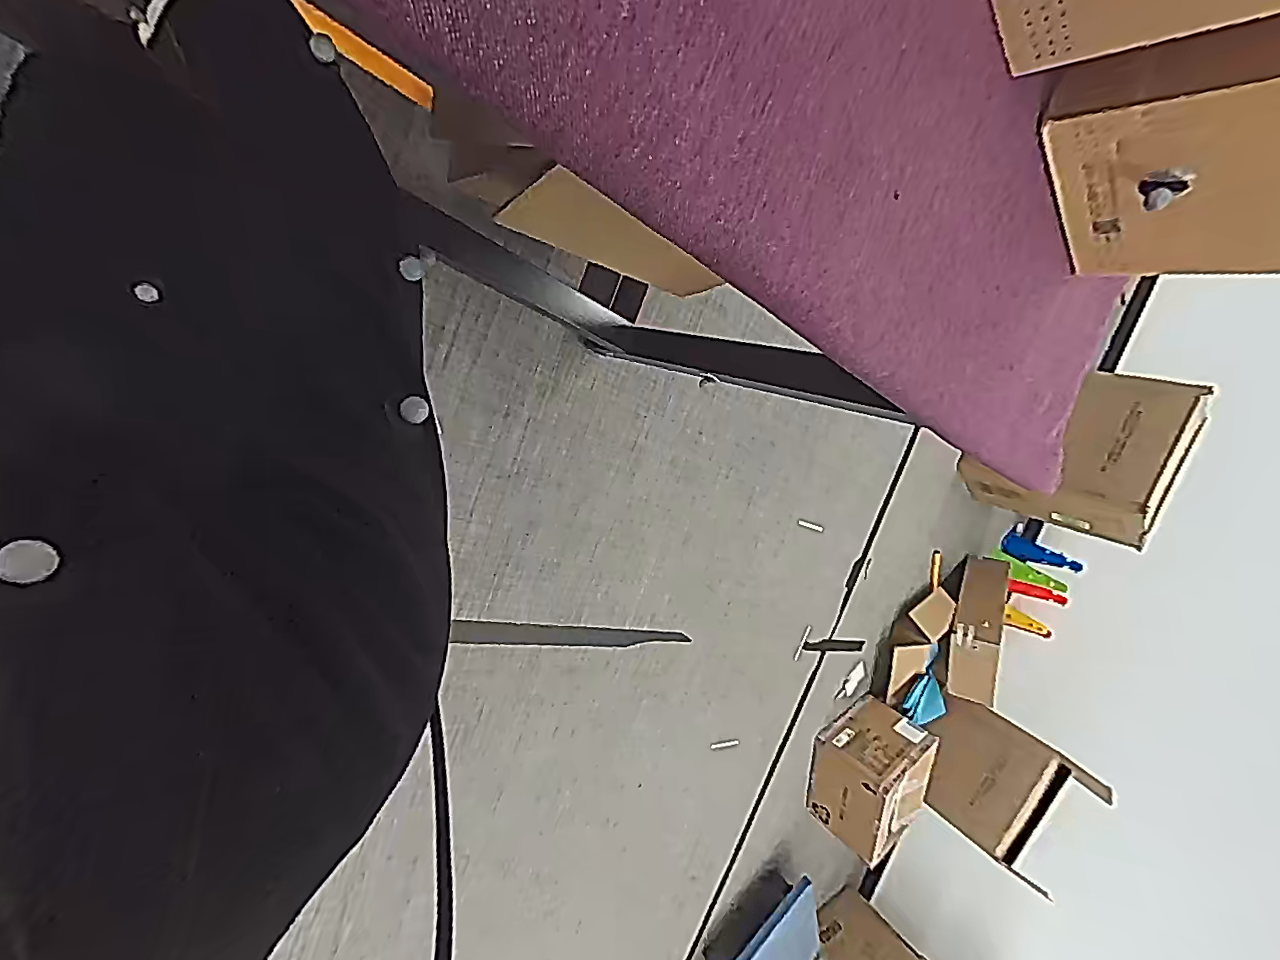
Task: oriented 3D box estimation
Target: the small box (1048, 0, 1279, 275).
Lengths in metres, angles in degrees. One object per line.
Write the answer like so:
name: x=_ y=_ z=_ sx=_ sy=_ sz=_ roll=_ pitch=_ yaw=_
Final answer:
small box: x=0.366 y=-0.238 z=0.303 sx=0.168 sy=0.176 sz=0.179 roll=22 pitch=92 yaw=-43
